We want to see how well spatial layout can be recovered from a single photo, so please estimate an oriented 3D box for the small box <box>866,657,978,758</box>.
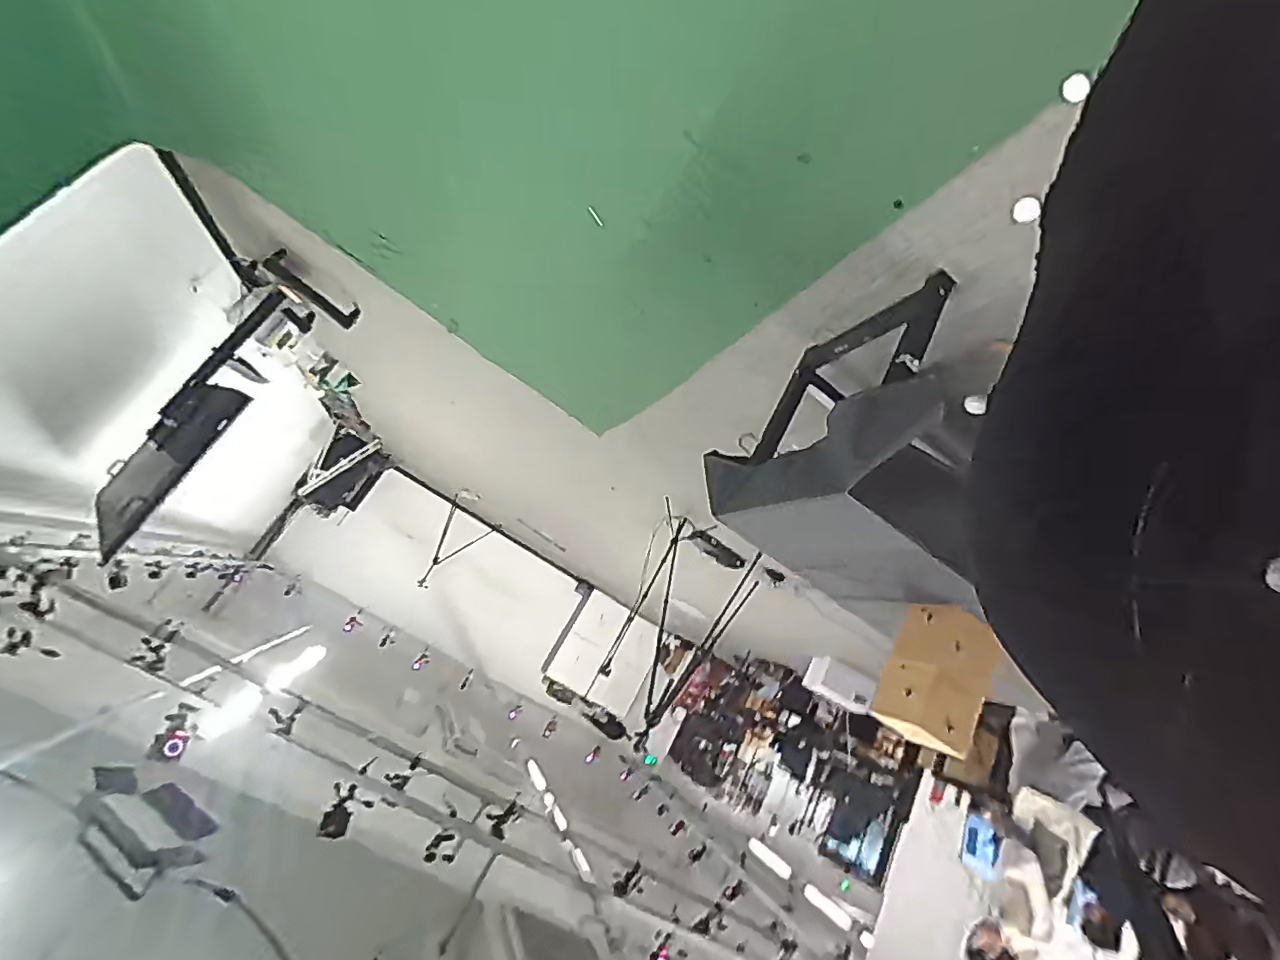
[{"bbox_3d":[0.736,0.584,1.412,0.179,0.176,0.168,35,160,-12],"label":"small box"}]
